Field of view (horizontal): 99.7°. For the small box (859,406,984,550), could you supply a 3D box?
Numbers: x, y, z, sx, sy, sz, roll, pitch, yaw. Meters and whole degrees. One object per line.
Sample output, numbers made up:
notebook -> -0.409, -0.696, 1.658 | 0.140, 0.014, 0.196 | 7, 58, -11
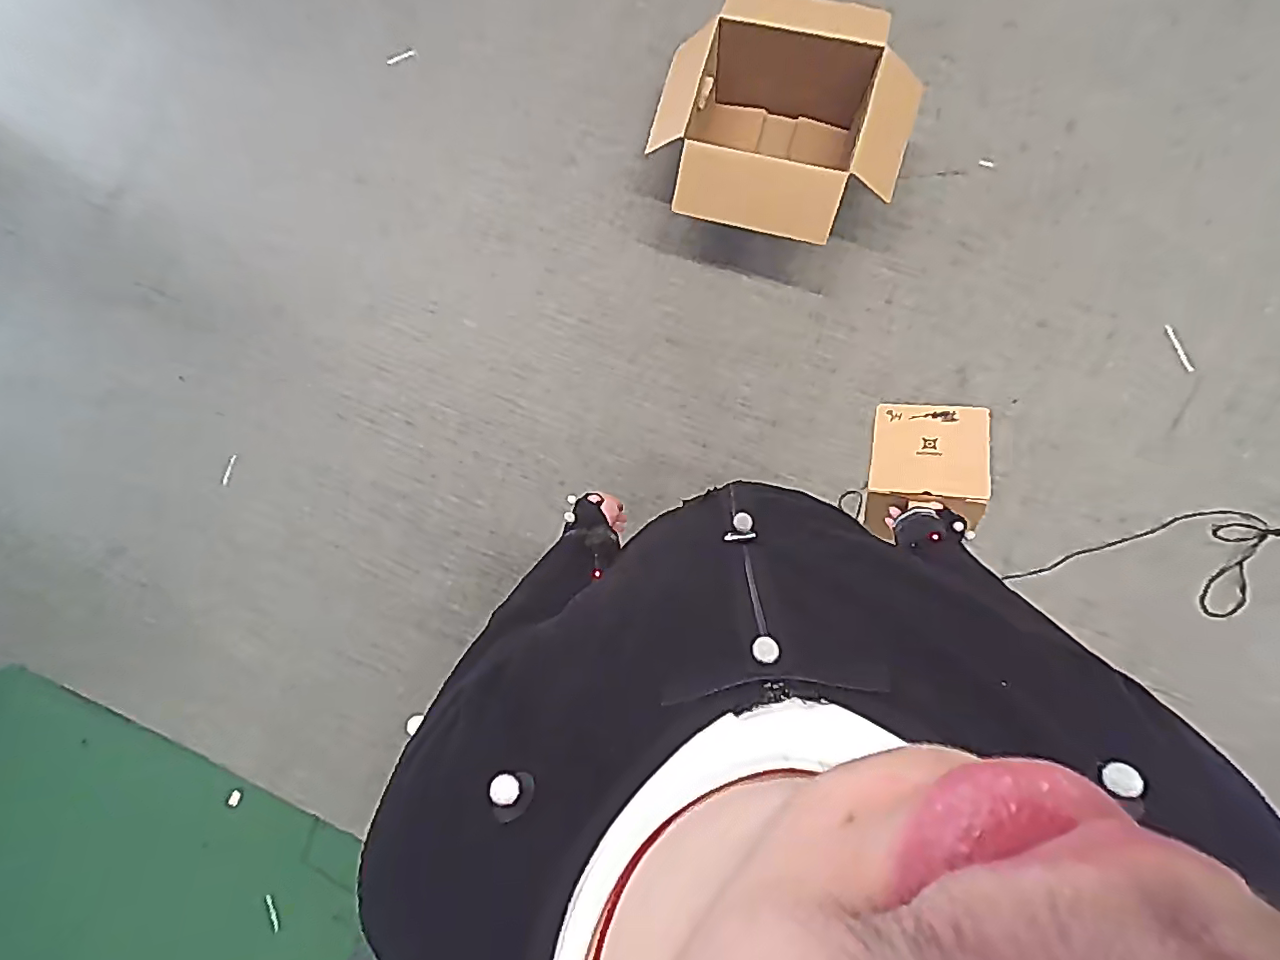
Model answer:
small box -> 0.466, -0.001, 0.907 | 0.168, 0.176, 0.179 | 6, 59, 23
